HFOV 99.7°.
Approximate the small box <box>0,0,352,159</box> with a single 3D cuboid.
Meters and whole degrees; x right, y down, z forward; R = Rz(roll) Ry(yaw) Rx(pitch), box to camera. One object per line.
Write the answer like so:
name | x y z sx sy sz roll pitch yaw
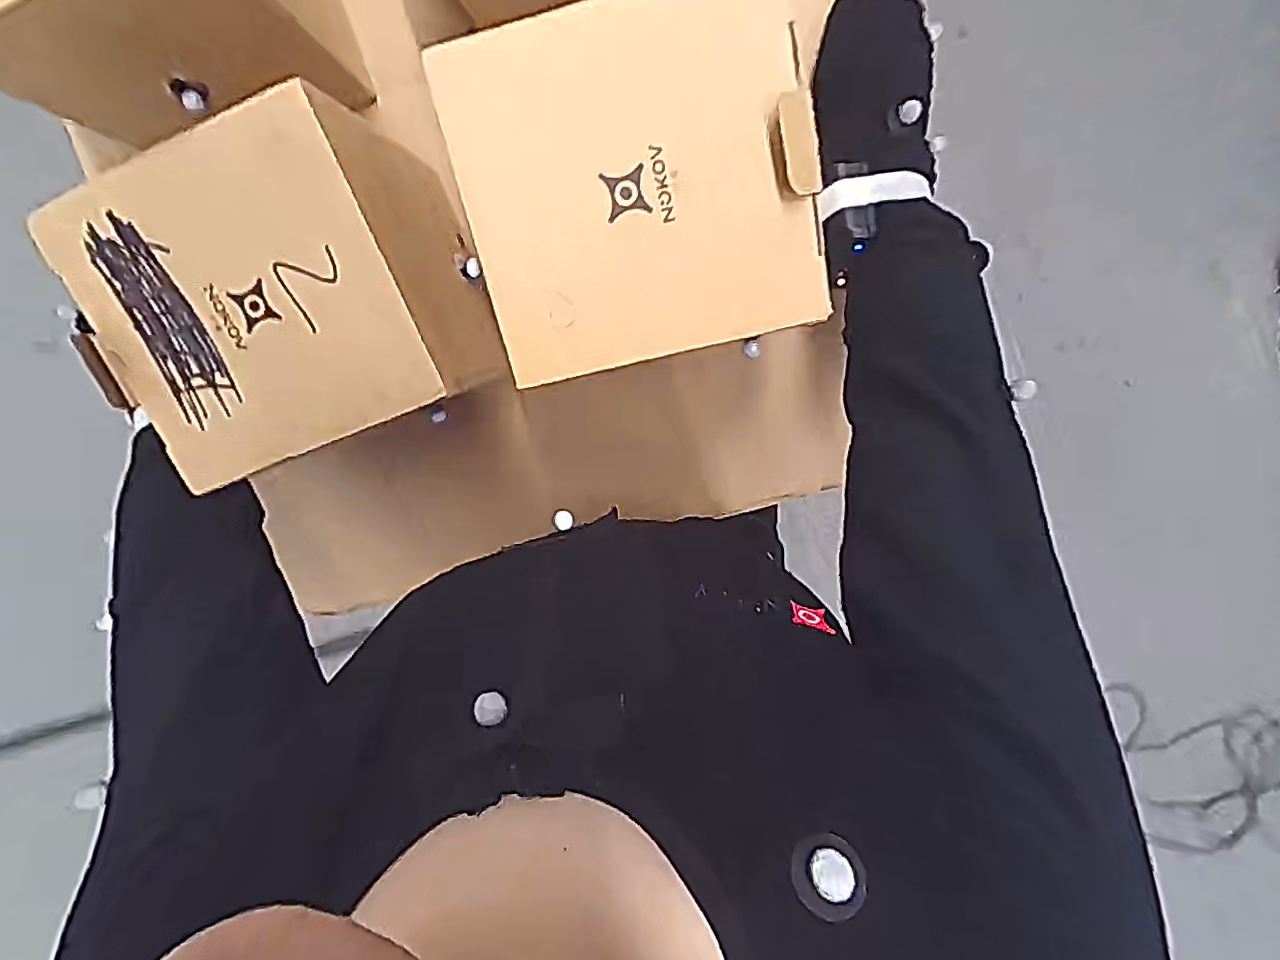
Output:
small box | -0.320 -0.331 0.333 0.168 0.176 0.179 -17 98 7
